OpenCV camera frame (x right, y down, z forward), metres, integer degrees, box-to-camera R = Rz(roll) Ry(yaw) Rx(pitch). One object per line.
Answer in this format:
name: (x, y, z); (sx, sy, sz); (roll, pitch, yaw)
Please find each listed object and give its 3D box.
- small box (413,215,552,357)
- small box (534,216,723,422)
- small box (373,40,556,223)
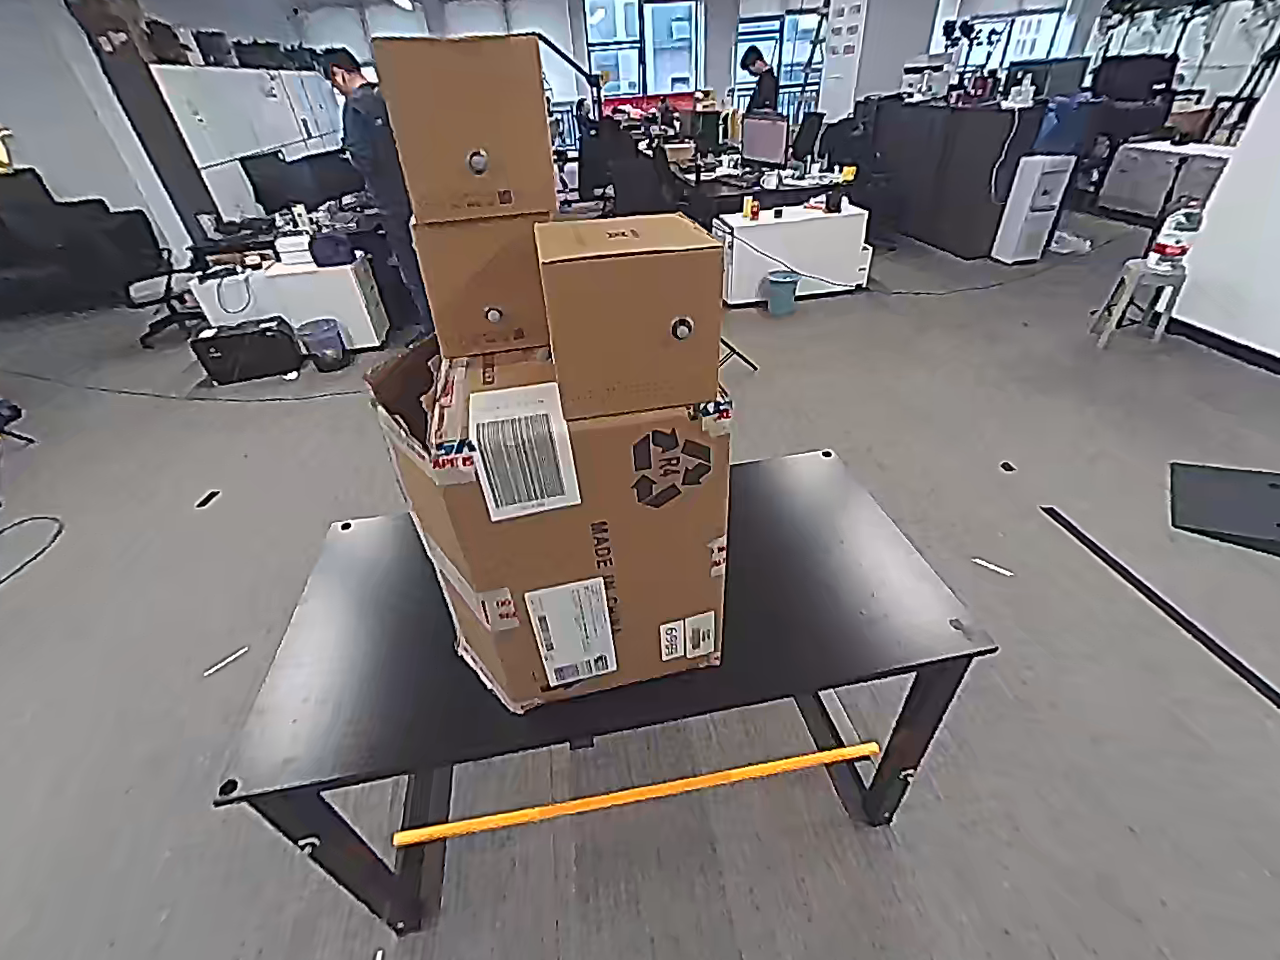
small box: (-0.206, -0.287, 0.760); (0.168, 0.176, 0.179); (-11, 36, -11)
small box: (-0.017, -0.185, 0.613); (0.179, 0.176, 0.168); (-10, 37, -7)
small box: (-0.205, -0.419, 0.659); (0.168, 0.176, 0.179); (-12, 36, -12)
